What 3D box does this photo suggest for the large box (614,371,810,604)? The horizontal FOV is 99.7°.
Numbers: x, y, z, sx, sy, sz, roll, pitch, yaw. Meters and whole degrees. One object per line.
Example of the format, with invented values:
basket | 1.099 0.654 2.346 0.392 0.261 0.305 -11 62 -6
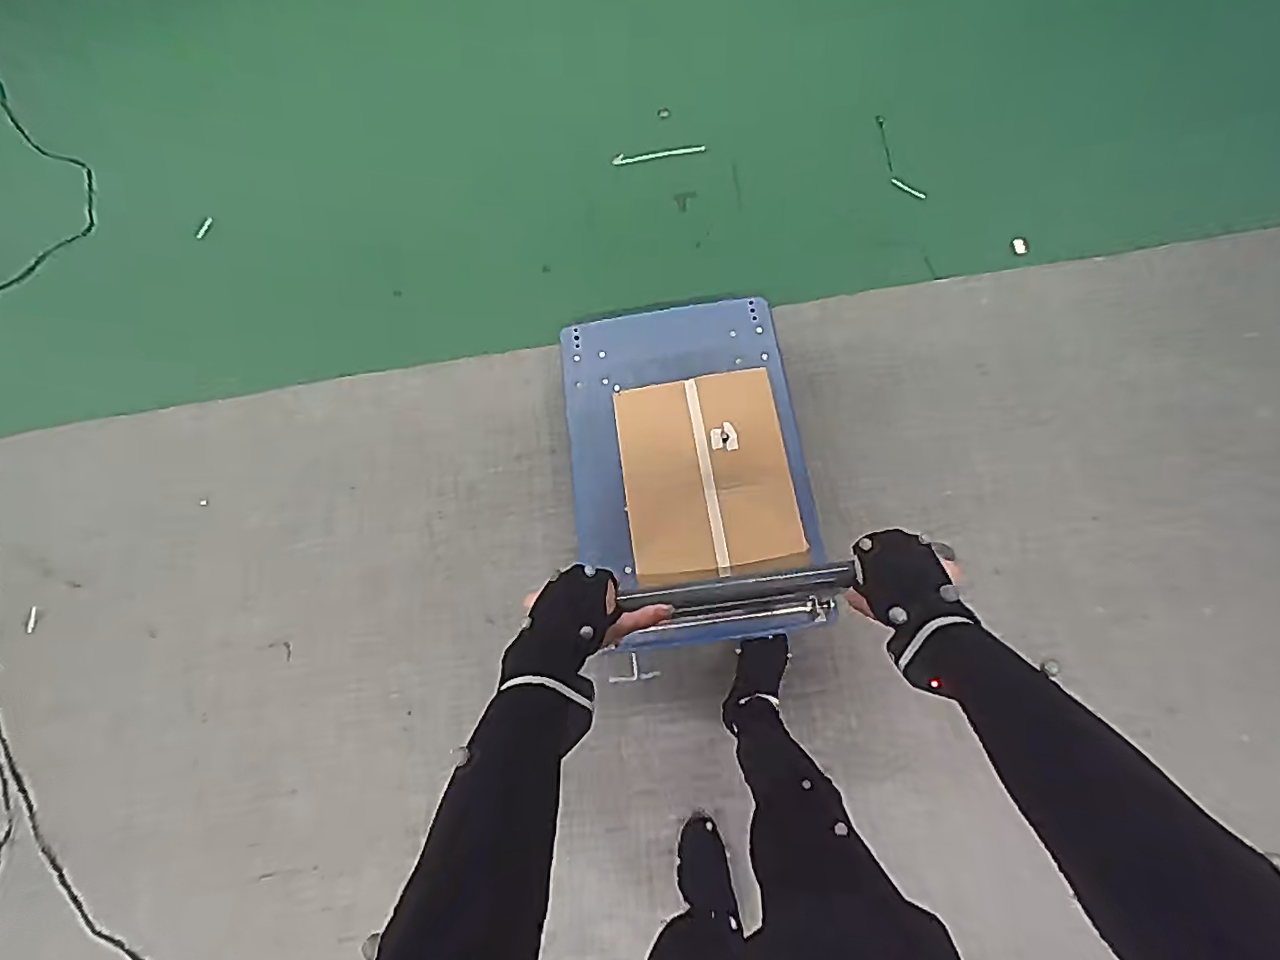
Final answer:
large box | 0.140 0.036 1.170 0.320 0.320 0.408 -9 72 2
